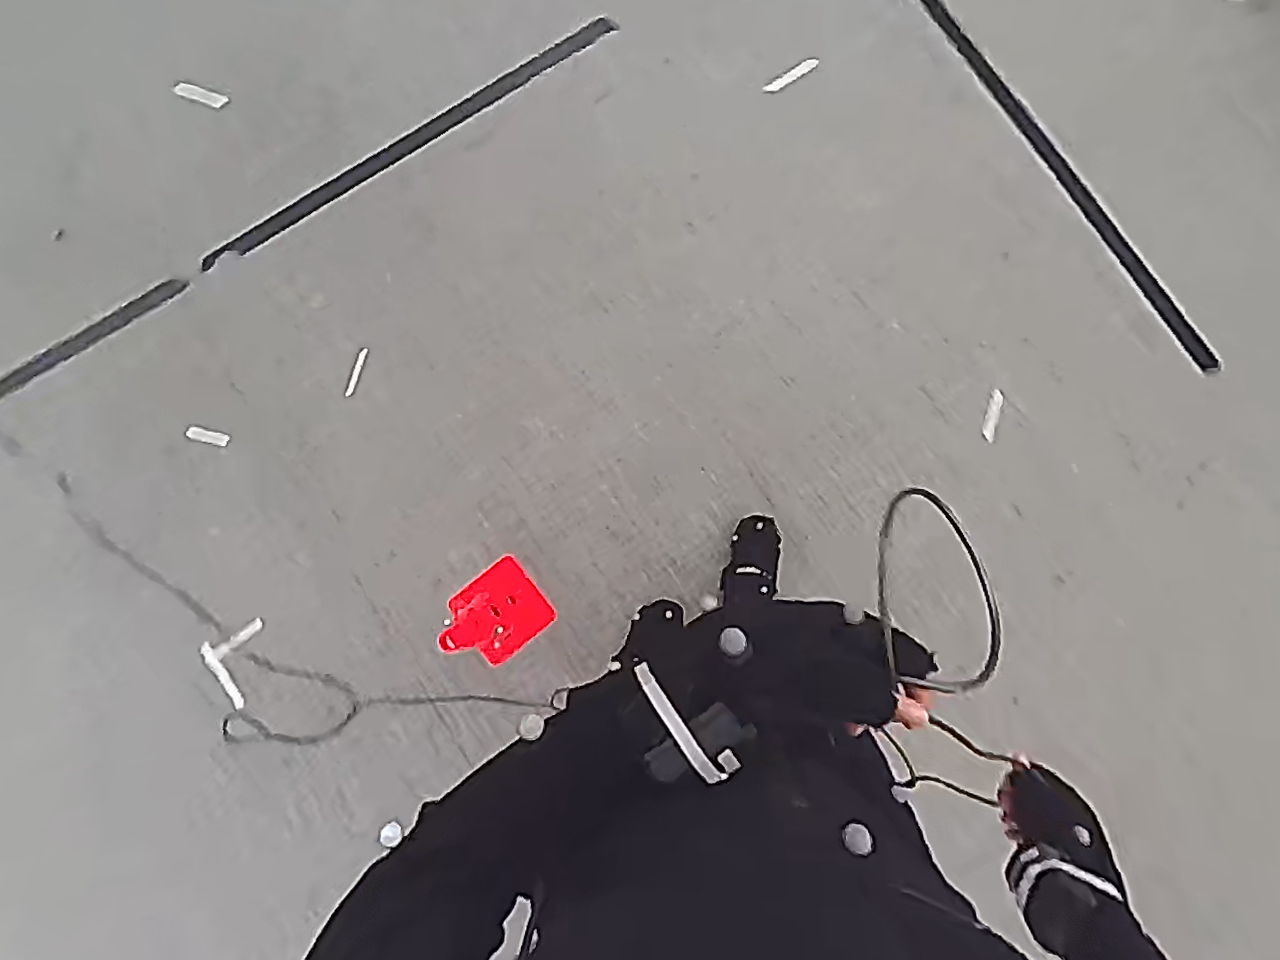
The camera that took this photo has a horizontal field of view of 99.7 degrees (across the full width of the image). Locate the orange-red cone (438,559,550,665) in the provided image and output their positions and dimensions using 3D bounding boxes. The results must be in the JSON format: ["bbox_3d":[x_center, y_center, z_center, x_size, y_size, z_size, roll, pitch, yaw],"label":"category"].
[{"bbox_3d":[-0.337,0.298,1.118,0.199,0.360,0.198,-38,87,-4],"label":"orange-red cone"}]
